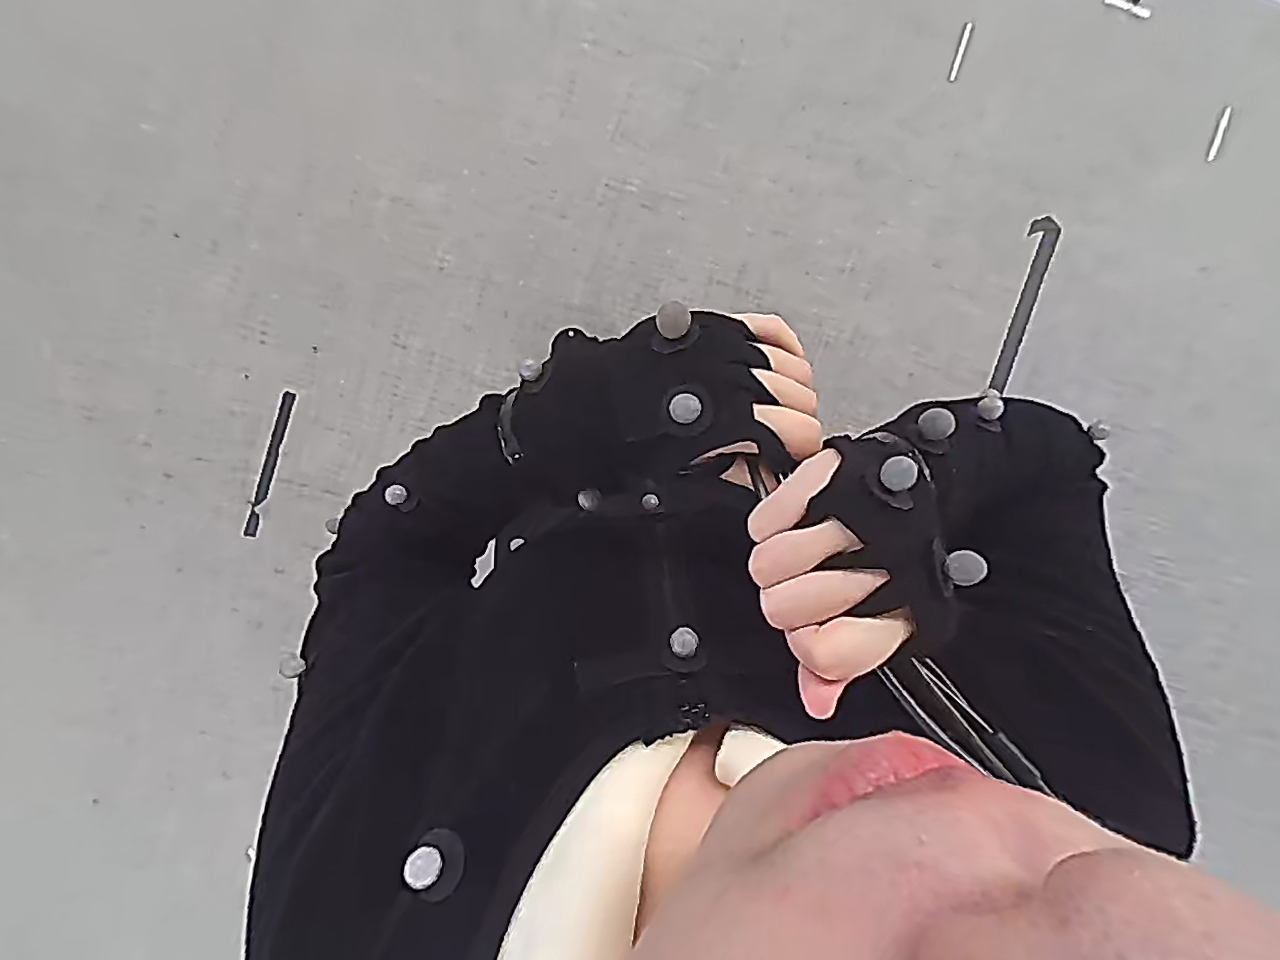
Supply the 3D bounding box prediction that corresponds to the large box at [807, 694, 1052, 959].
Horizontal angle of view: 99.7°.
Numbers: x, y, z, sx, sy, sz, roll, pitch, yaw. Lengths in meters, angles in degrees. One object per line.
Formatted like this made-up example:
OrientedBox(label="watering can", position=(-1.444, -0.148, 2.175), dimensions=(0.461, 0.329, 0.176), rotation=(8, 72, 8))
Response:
OrientedBox(label="large box", position=(0.657, 0.797, 1.289), dimensions=(0.320, 0.320, 0.408), rotation=(20, 94, -5))
